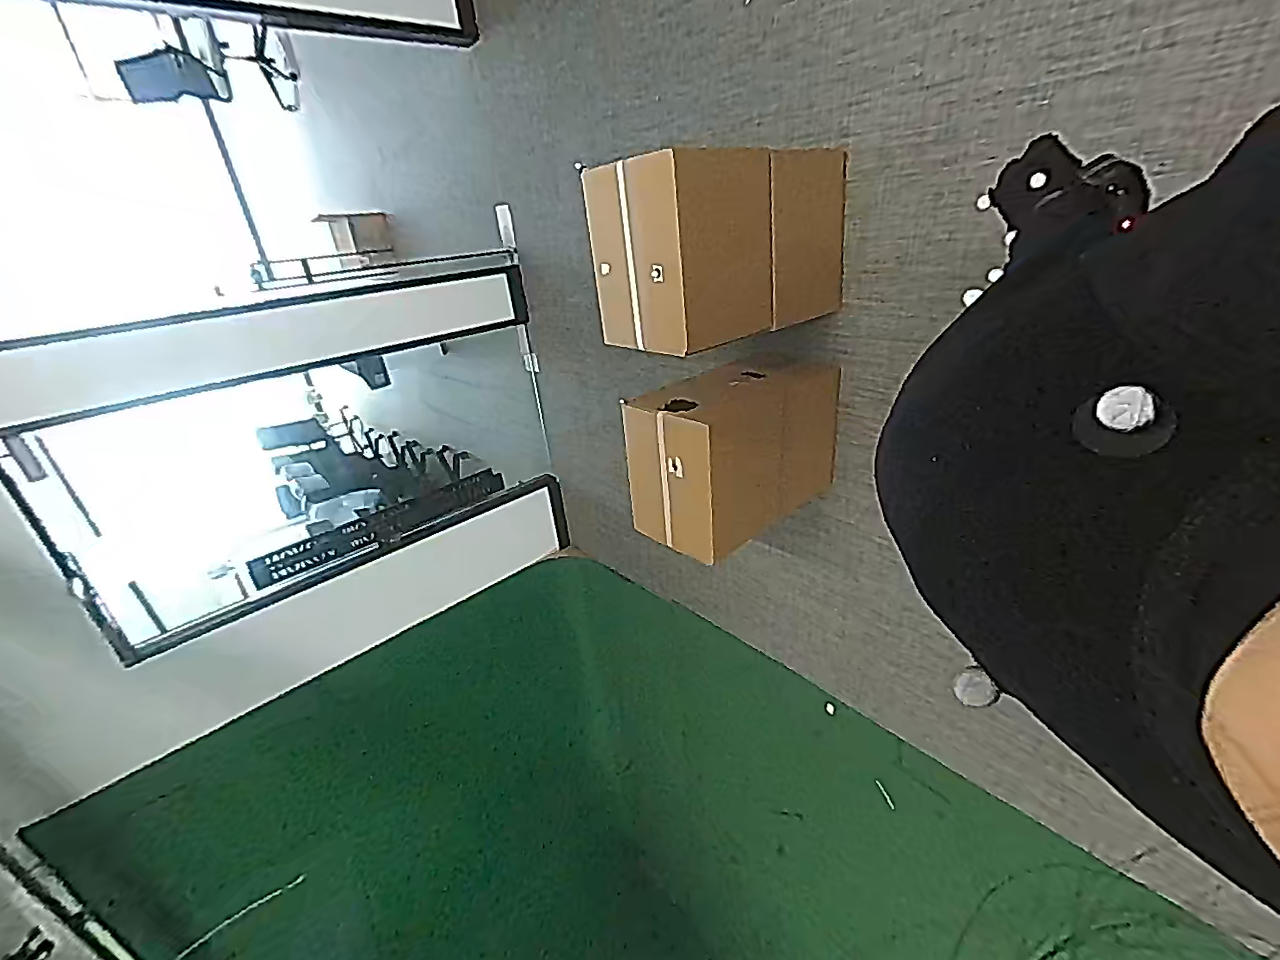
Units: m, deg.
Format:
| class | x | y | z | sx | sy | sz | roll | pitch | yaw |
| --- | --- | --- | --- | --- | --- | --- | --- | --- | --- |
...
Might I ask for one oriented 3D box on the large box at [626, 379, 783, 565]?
| class | x | y | z | sx | sy | sz | roll | pitch | yaw |
| --- | --- | --- | --- | --- | --- | --- | --- | --- | --- |
| large box | 0.189 | -0.041 | 1.528 | 0.320 | 0.320 | 0.408 | 21 | 125 | 43 |
